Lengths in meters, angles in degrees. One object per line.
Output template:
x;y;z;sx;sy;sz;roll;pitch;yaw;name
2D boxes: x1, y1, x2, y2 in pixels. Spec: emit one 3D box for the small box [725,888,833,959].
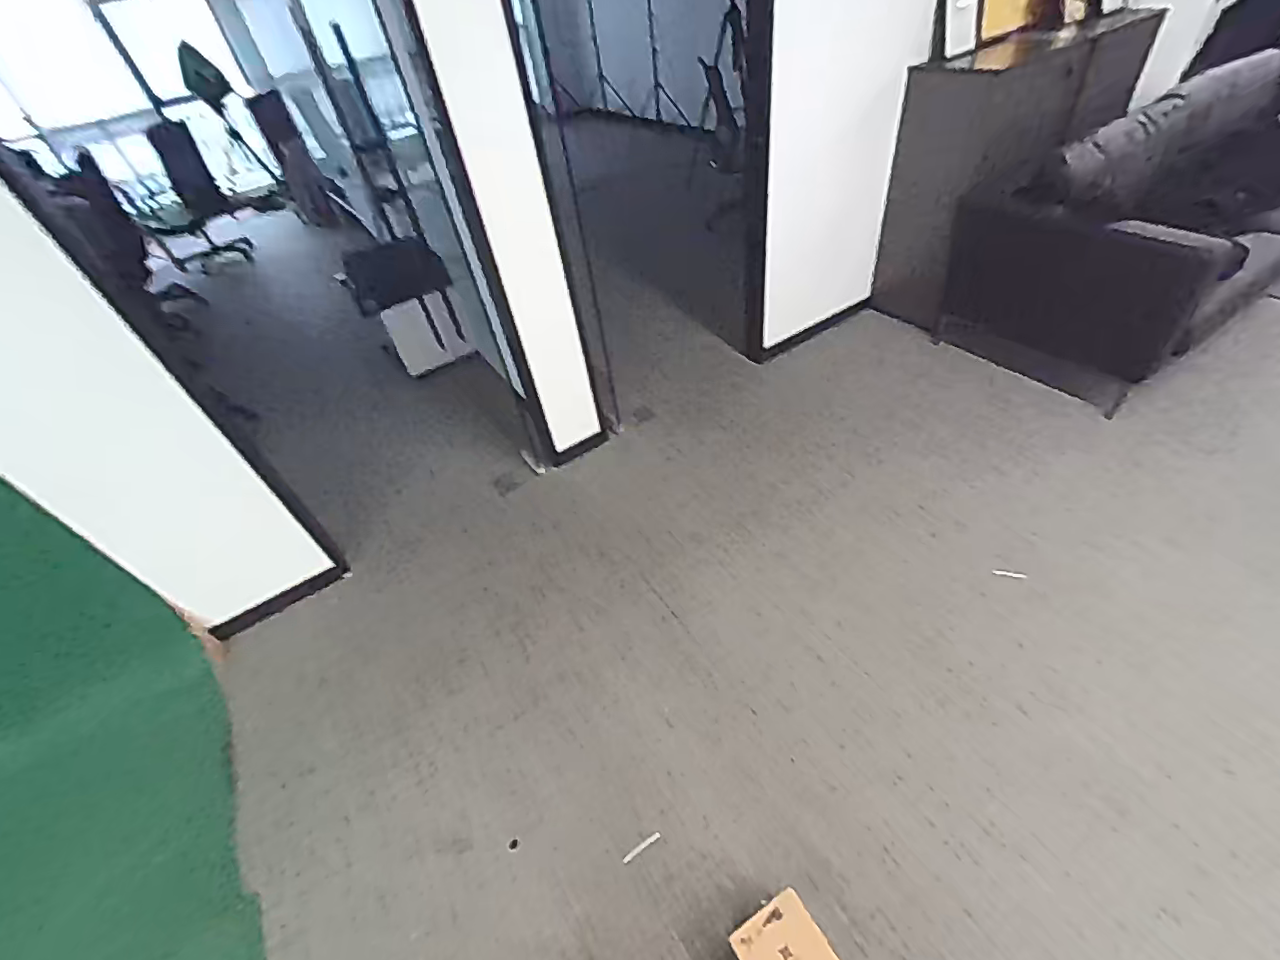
0.292;0.992;1.111;0.168;0.176;0.179;-26;46;-16;small box
